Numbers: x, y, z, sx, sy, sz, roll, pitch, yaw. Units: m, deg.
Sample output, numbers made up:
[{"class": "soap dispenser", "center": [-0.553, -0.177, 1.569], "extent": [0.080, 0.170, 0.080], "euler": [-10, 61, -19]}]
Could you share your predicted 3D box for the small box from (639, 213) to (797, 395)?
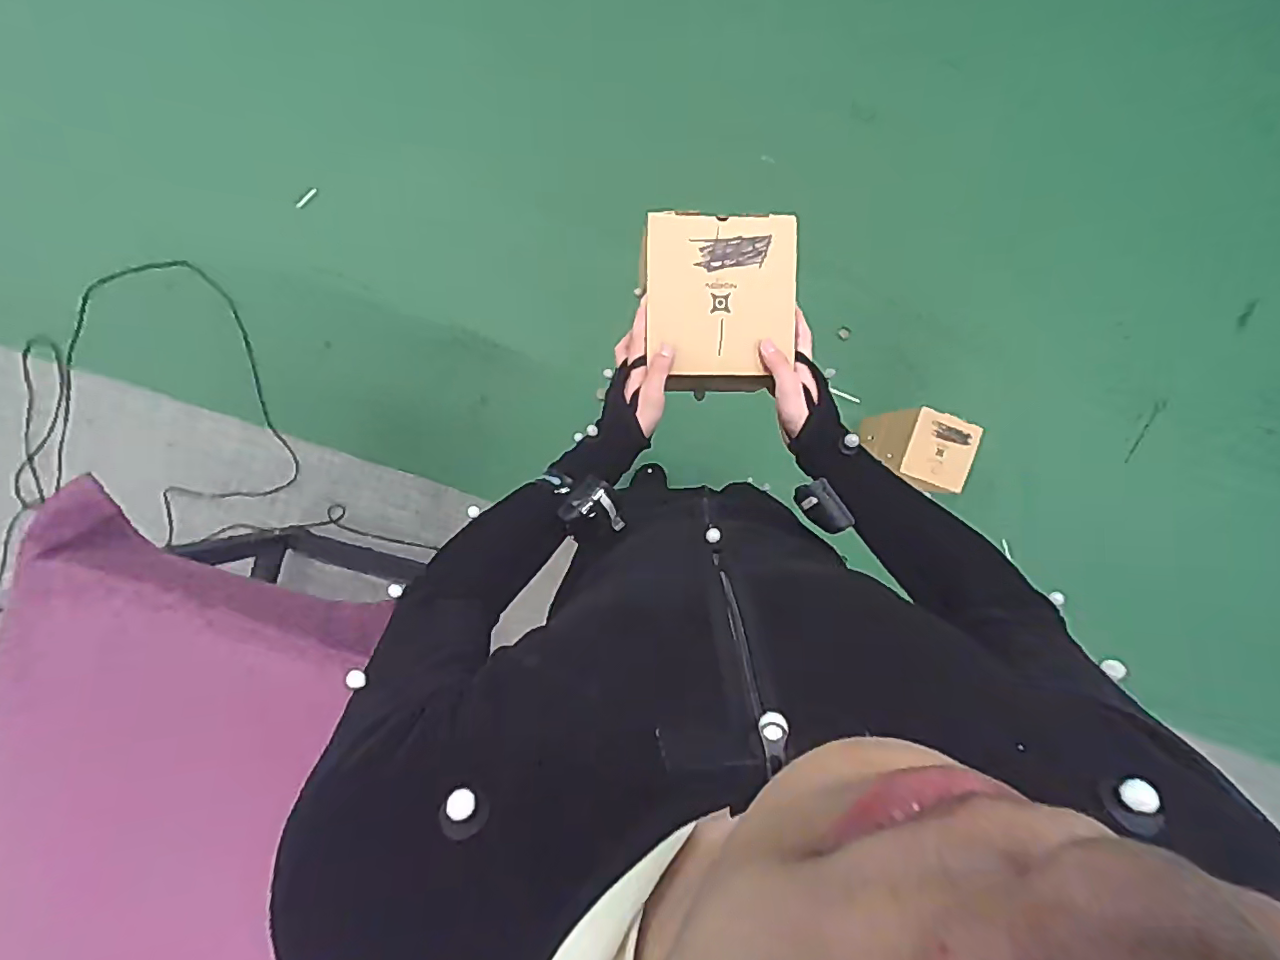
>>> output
[{"class": "small box", "center": [0.084, -0.203, 0.665], "extent": [0.168, 0.176, 0.179], "euler": [0, 94, -2]}]

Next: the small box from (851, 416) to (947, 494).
[{"class": "small box", "center": [0.739, -0.071, 1.566], "extent": [0.168, 0.176, 0.179], "euler": [21, 91, -1]}]
